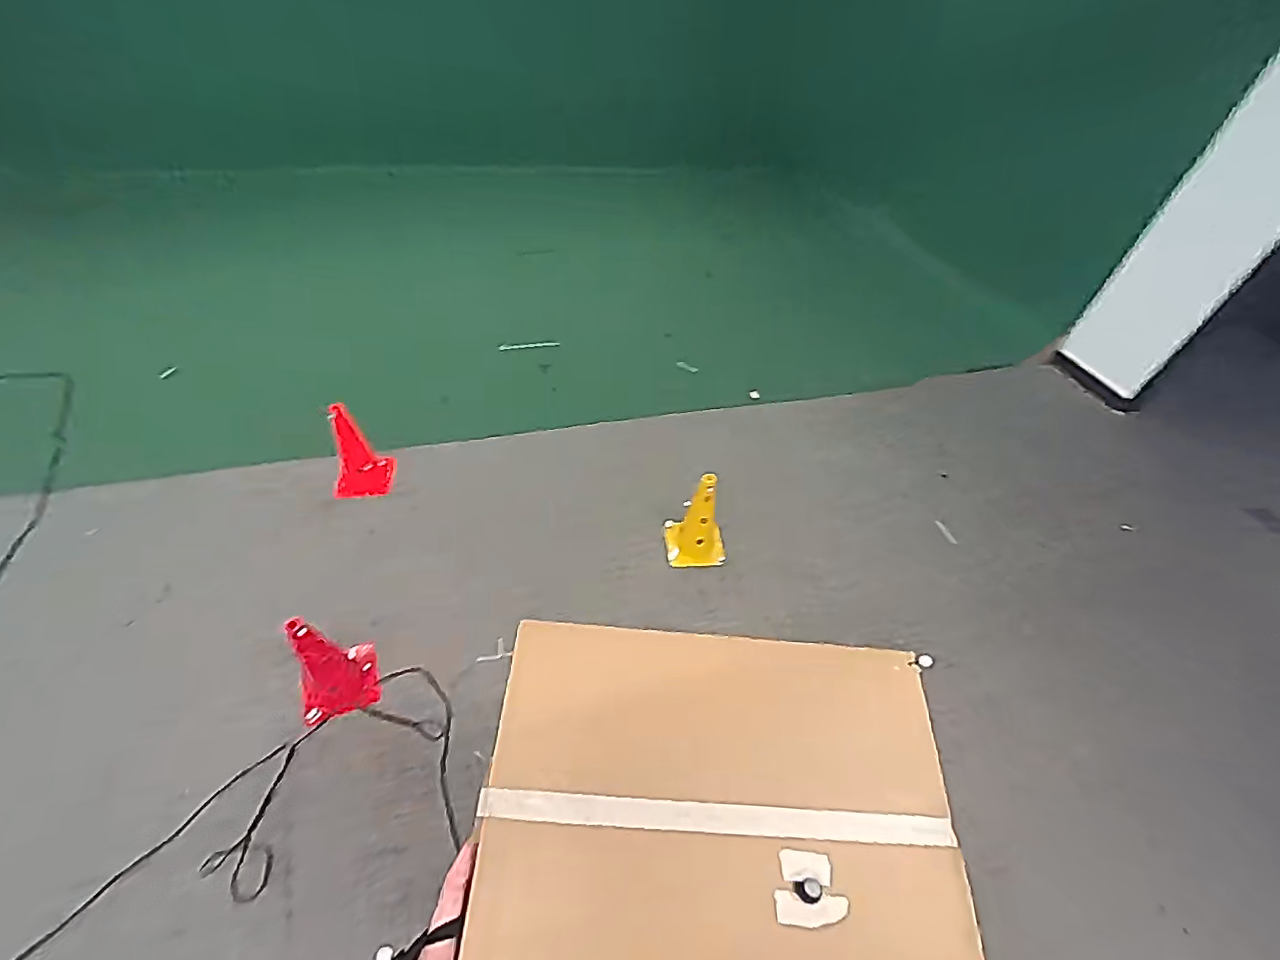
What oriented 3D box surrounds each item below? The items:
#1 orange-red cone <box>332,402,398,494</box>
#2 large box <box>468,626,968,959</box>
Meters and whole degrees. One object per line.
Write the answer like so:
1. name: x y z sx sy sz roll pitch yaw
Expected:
1. orange-red cone: -1.055 -0.136 1.987 0.199 0.360 0.198 -4 47 -7
2. large box: 0.054 0.370 0.599 0.408 0.320 0.320 5 58 -3
